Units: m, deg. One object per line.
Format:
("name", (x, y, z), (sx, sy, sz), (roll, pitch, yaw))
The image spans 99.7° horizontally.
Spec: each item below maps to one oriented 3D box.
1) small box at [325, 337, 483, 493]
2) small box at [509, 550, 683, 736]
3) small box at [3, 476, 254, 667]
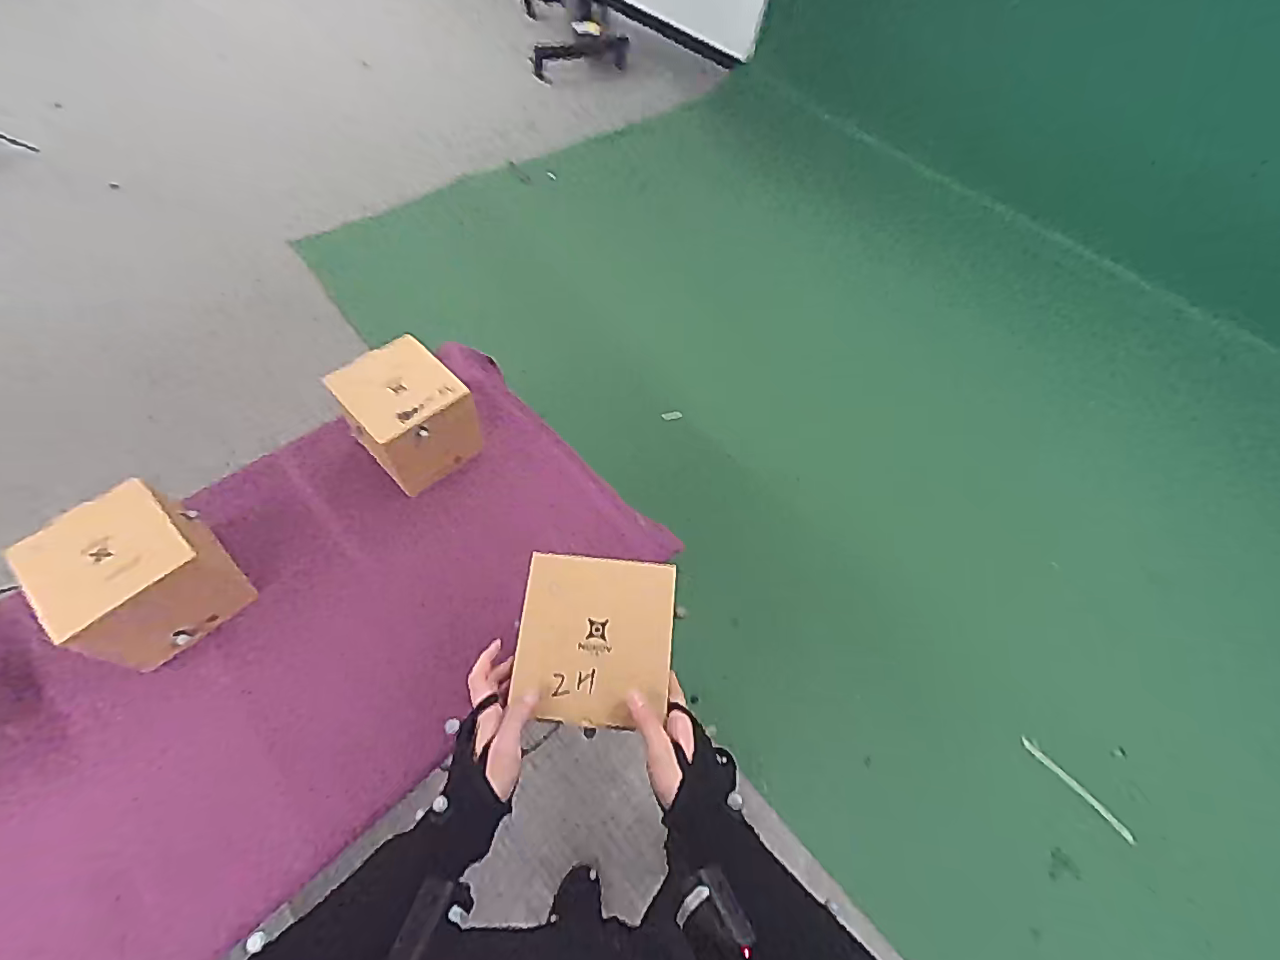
("small box", (-0.402, -0.110, 0.947), (0.179, 0.176, 0.168), (41, 64, 20))
("small box", (-0.045, 0.198, 0.647), (0.168, 0.176, 0.179), (6, 68, 2))
("small box", (-0.705, 0.135, 0.765), (0.179, 0.176, 0.168), (40, 63, 18))
